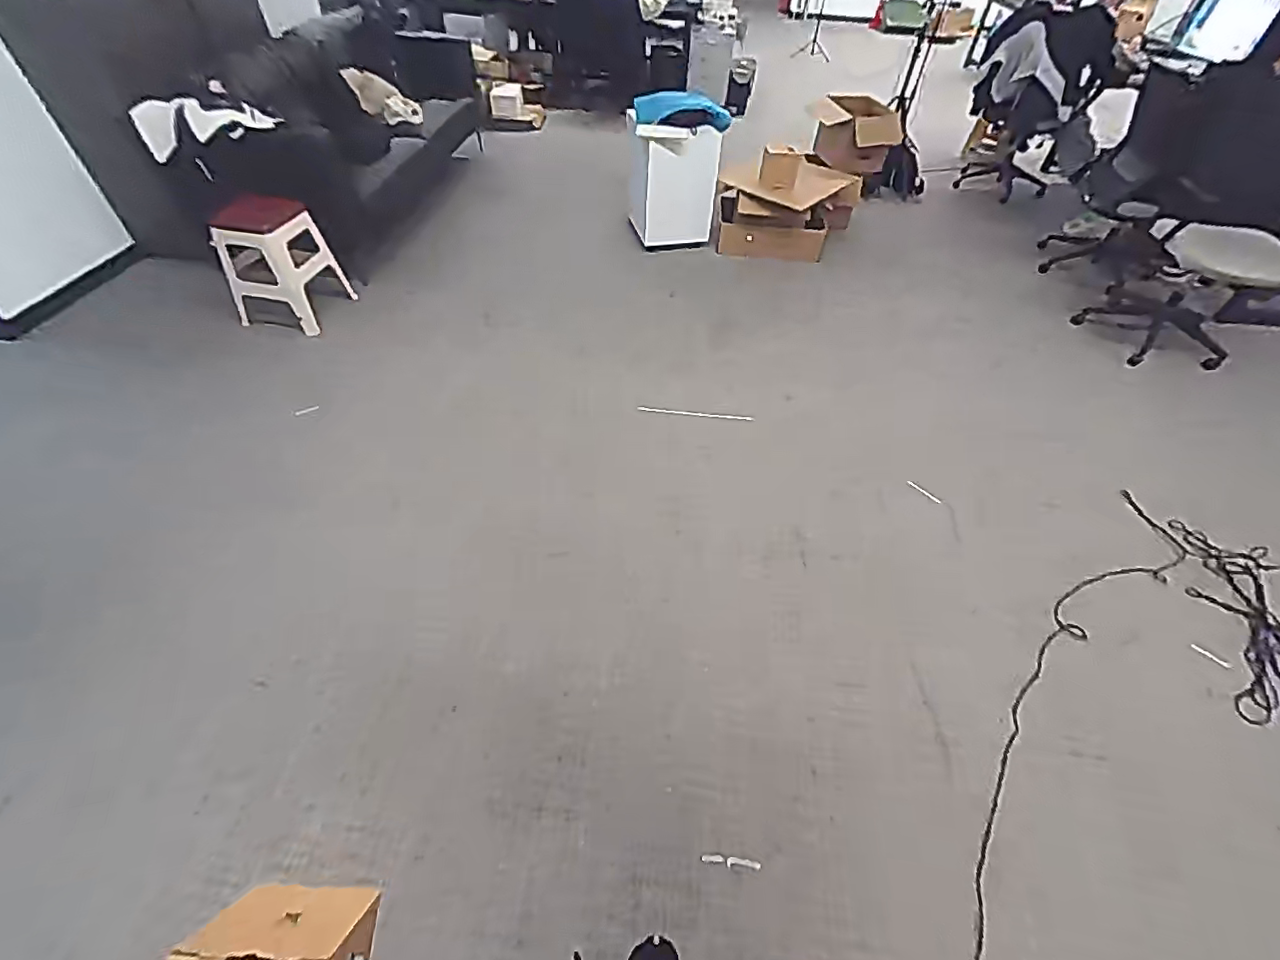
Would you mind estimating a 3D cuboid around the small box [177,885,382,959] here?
[{"bbox_3d":[-0.433,0.614,0.637,0.168,0.179,0.176,6,72,-5],"label":"small box"}]
